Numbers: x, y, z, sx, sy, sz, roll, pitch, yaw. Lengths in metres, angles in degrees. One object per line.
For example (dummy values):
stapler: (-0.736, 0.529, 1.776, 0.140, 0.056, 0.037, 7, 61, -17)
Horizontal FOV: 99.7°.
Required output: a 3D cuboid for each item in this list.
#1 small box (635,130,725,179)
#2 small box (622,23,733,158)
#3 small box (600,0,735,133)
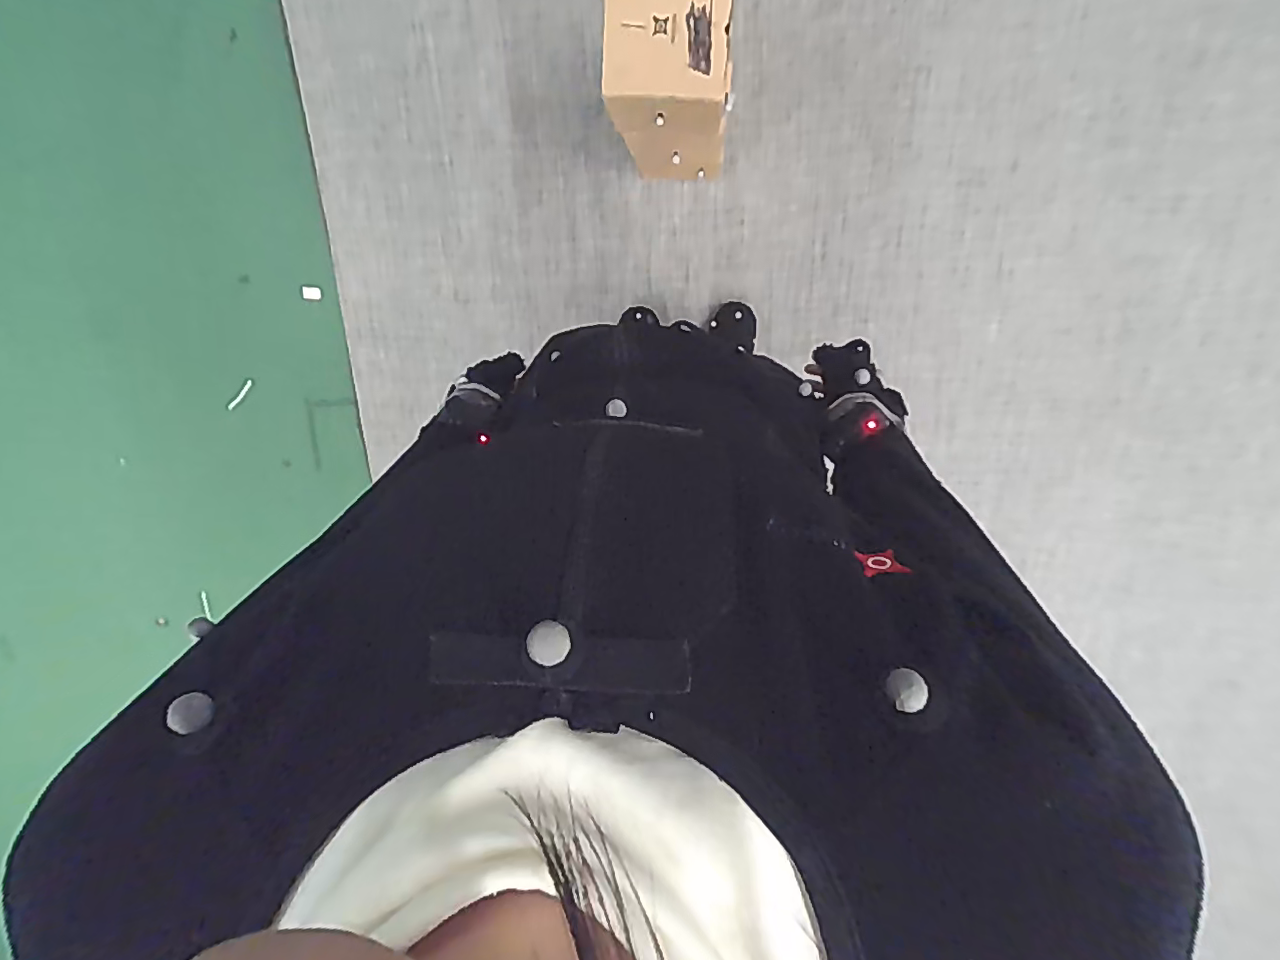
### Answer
small box: (0.086, -0.739, 1.124, 0.179, 0.176, 0.168, 3, 108, 7)
small box: (0.066, -0.691, 0.969, 0.179, 0.176, 0.168, 4, 108, 4)
small box: (0.045, -0.642, 0.813, 0.179, 0.176, 0.168, 7, 109, 6)
